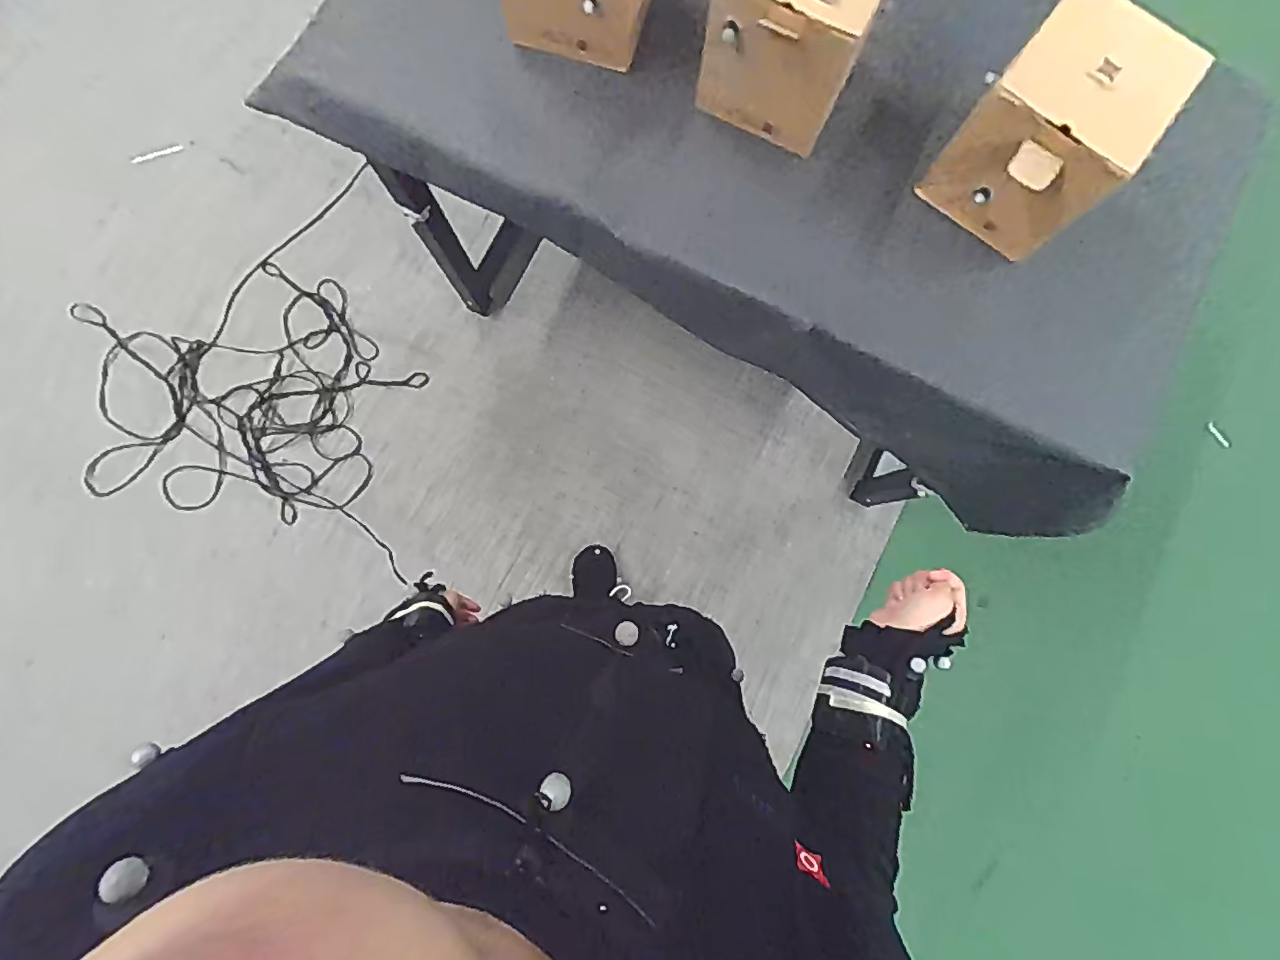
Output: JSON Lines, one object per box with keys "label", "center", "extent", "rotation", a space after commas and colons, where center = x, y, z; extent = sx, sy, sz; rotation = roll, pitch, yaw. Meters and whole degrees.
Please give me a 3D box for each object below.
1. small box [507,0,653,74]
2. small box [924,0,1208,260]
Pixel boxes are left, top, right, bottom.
{"label": "small box", "center": [-0.069, -0.654, 0.663], "extent": [0.168, 0.176, 0.179], "rotation": [15, 81, -1]}
{"label": "small box", "center": [0.482, -0.408, 0.642], "extent": [0.168, 0.176, 0.179], "rotation": [37, 84, 3]}
